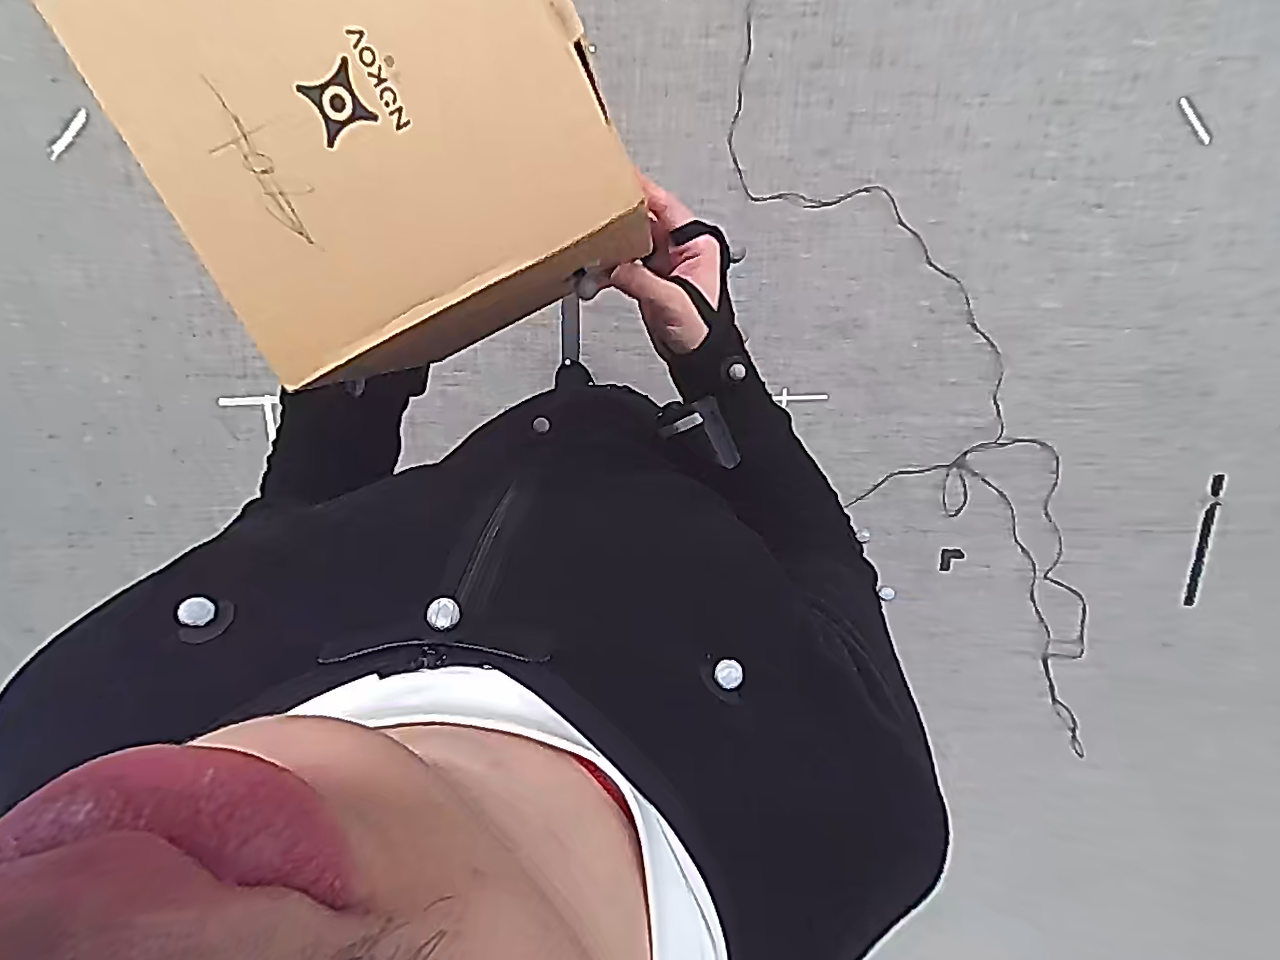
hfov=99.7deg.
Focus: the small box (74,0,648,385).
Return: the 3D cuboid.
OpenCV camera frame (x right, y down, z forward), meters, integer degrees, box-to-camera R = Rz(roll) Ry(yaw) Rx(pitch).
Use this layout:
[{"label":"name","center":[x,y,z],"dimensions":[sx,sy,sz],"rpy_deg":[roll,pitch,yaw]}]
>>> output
[{"label":"small box","center":[-0.107,-0.170,0.293],"dimensions":[0.179,0.176,0.168],"rpy_deg":[-25,103,9]}]
